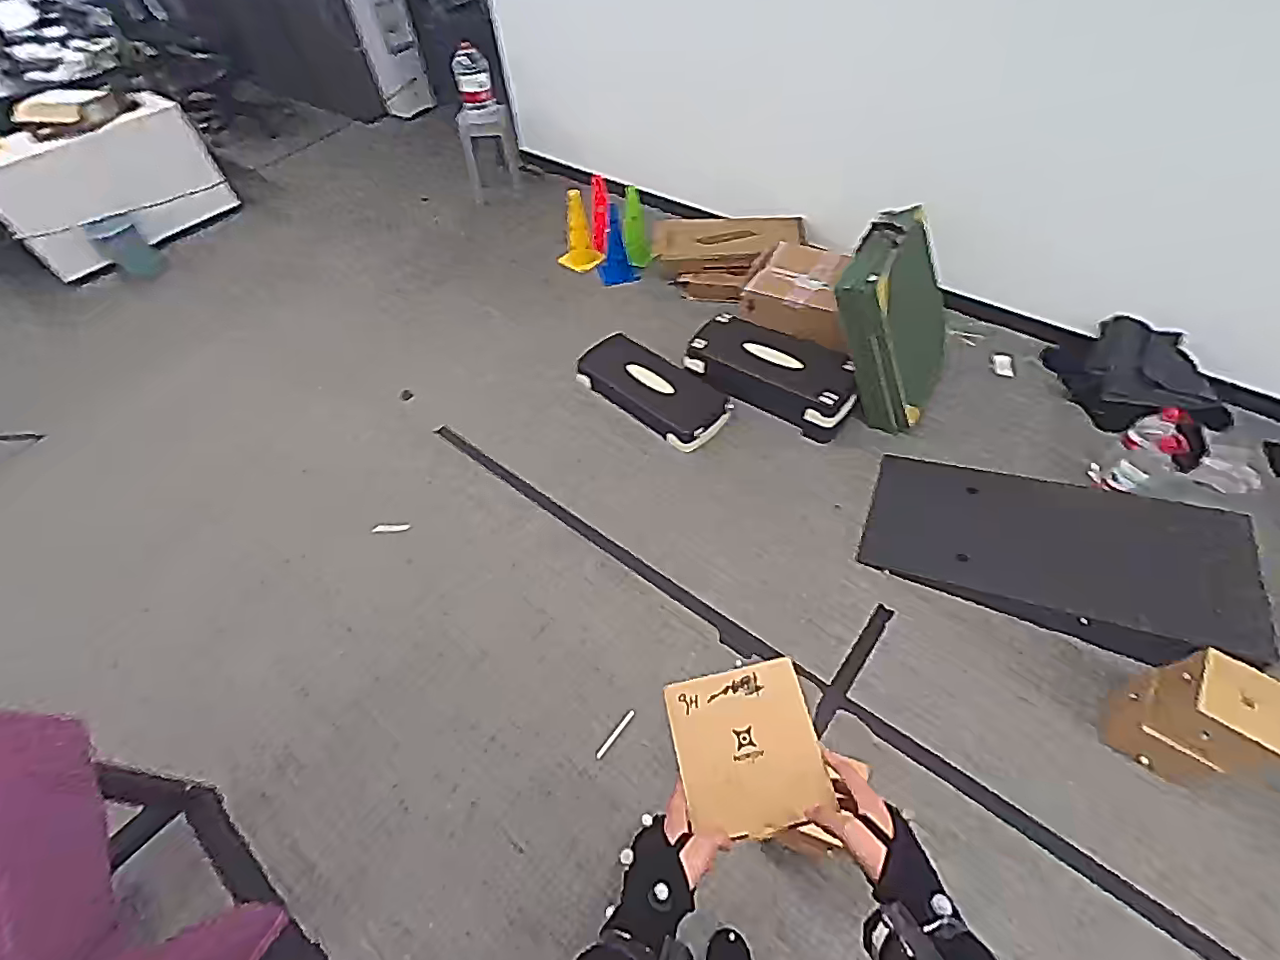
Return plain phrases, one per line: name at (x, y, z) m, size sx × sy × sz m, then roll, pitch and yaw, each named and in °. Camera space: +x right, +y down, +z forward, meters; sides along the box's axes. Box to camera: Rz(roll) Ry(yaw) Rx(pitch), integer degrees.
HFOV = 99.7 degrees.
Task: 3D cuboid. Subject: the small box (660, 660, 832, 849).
small box at (0.133, 0.352, 0.704) m, size 0.168 × 0.176 × 0.179 m, roll -15°, pitch 60°, yaw 3°
